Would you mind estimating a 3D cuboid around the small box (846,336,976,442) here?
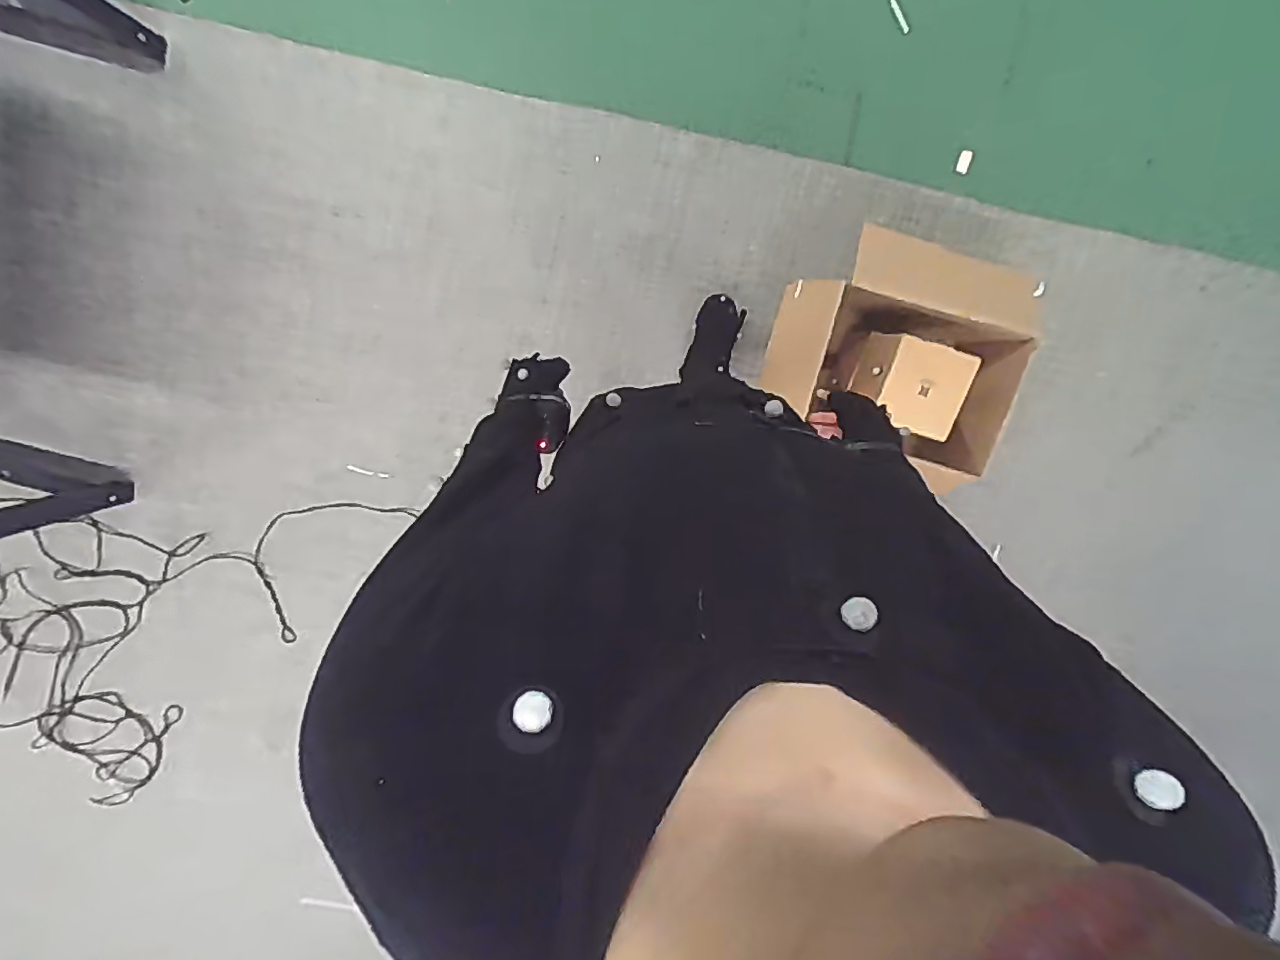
[{"bbox_3d":[0.565,-0.198,1.158,0.168,0.176,0.179,16,103,-3],"label":"small box"}]
